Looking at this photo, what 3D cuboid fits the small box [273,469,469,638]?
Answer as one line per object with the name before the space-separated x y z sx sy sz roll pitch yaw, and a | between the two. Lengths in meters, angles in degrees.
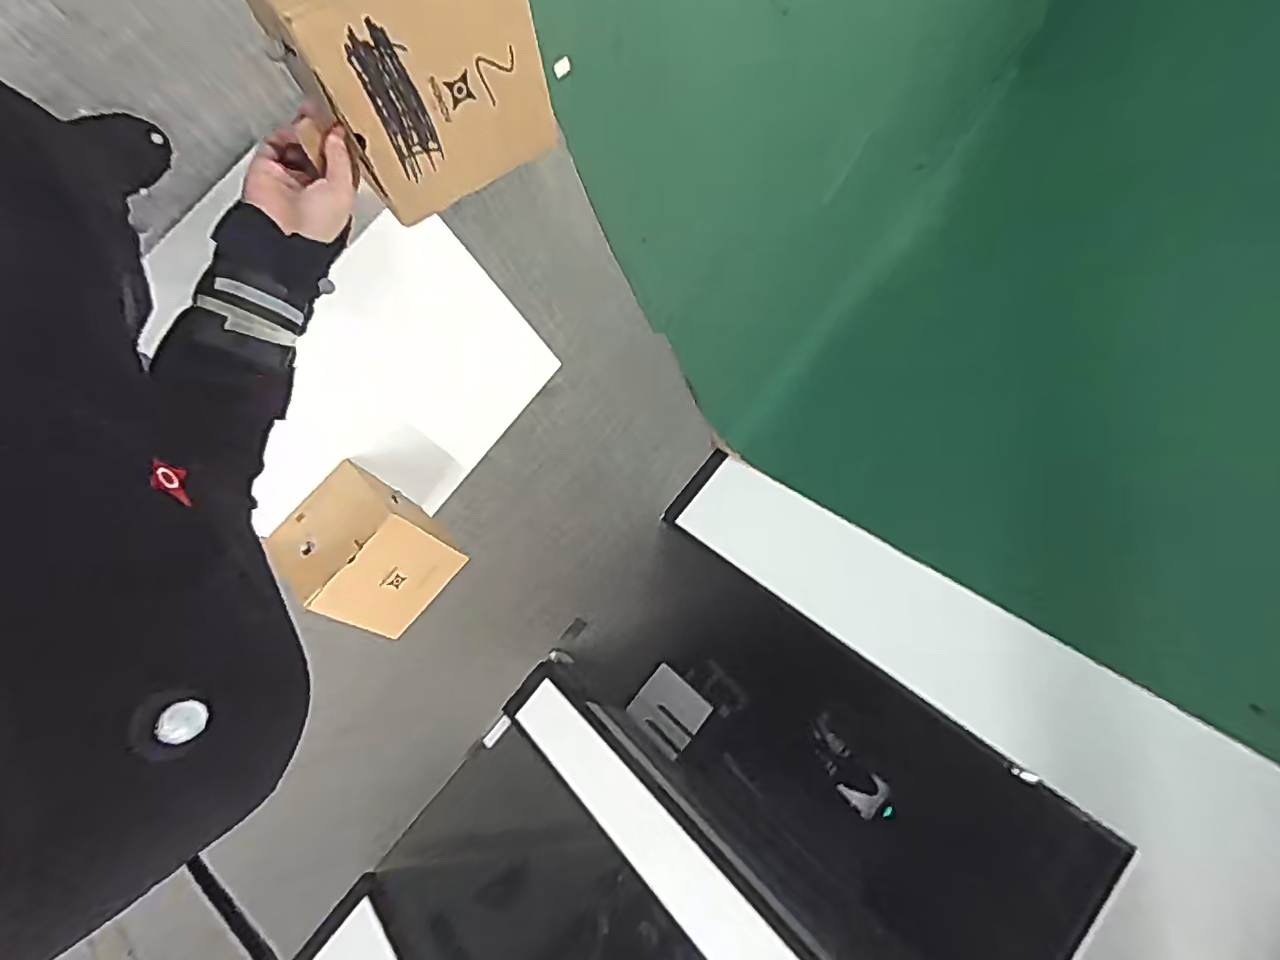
small box | -0.407 0.107 0.820 0.168 0.176 0.179 -49 147 -10
